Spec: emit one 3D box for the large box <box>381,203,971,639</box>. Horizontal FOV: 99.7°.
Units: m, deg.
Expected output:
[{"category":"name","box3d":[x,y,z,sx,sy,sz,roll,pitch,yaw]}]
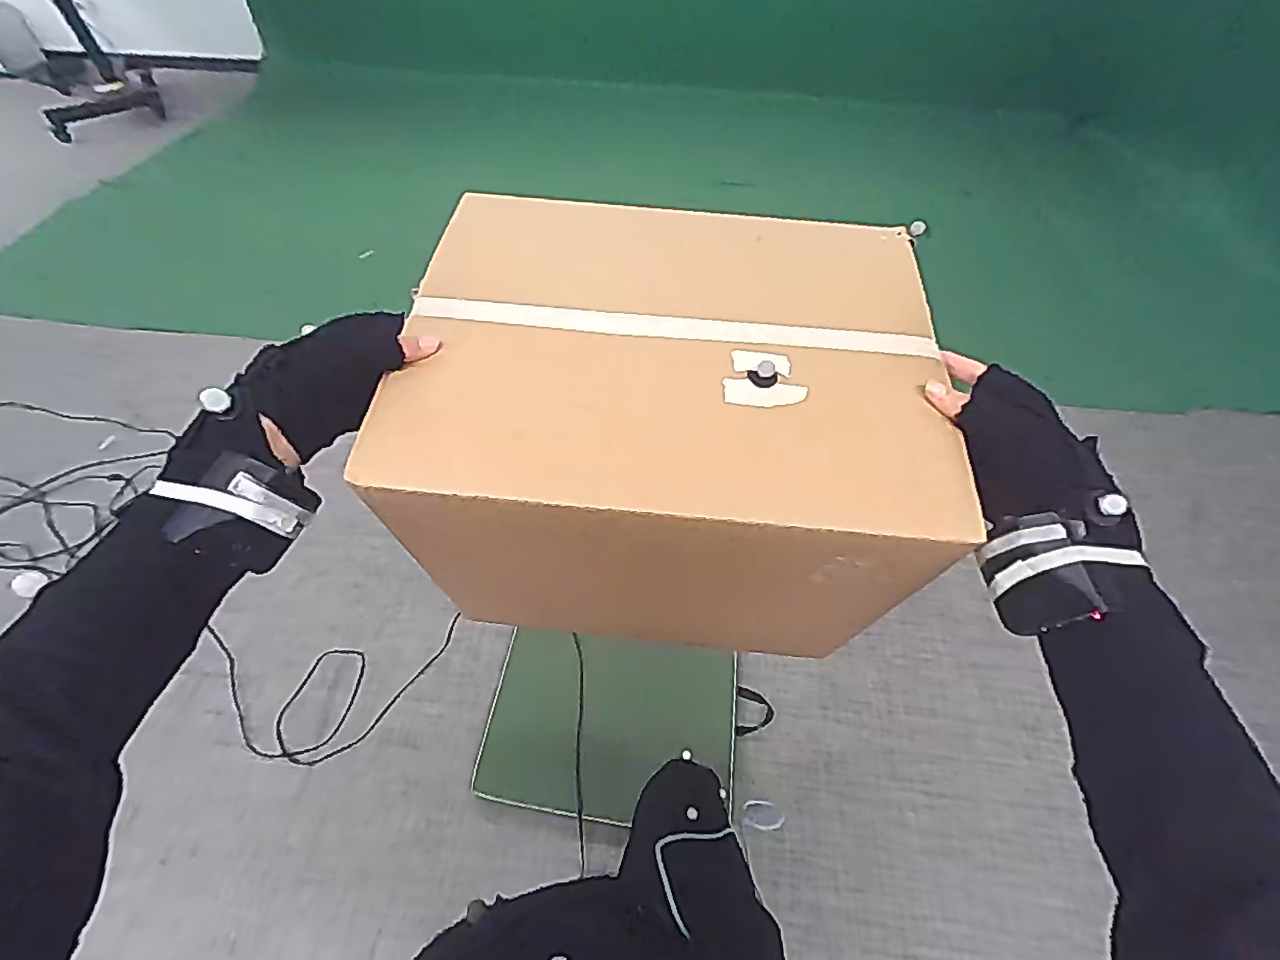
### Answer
[{"category":"large box","box3d":[0.027,-0.040,0.559,0.408,0.320,0.320,5,60,0]}]
